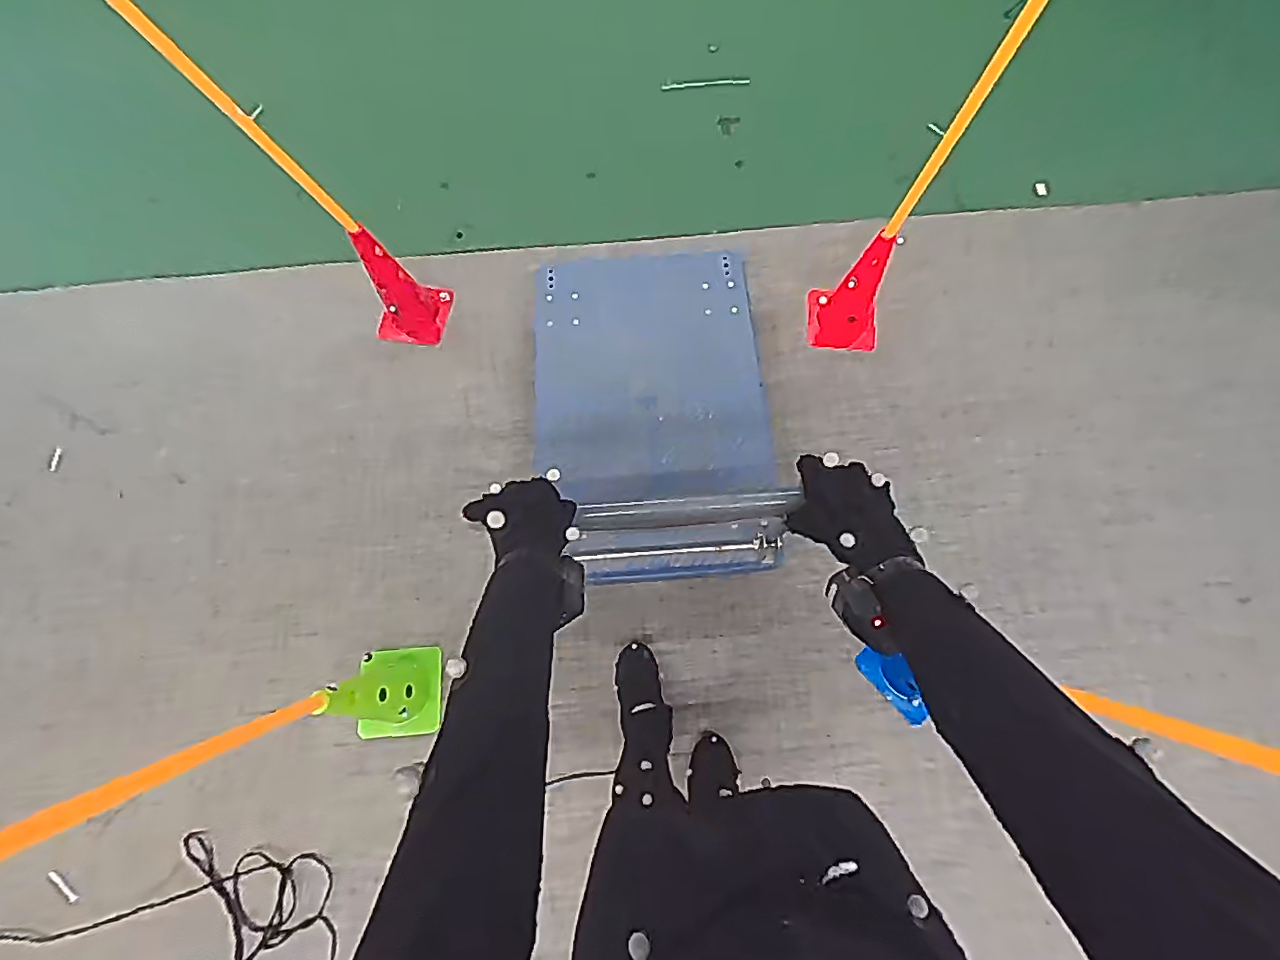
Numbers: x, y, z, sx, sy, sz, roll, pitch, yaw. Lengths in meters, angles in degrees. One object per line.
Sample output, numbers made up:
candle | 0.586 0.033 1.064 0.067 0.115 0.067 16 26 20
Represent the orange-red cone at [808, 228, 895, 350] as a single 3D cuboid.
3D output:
orange-red cone | 0.597 -0.530 1.453 0.198 0.360 0.199 6 73 4
